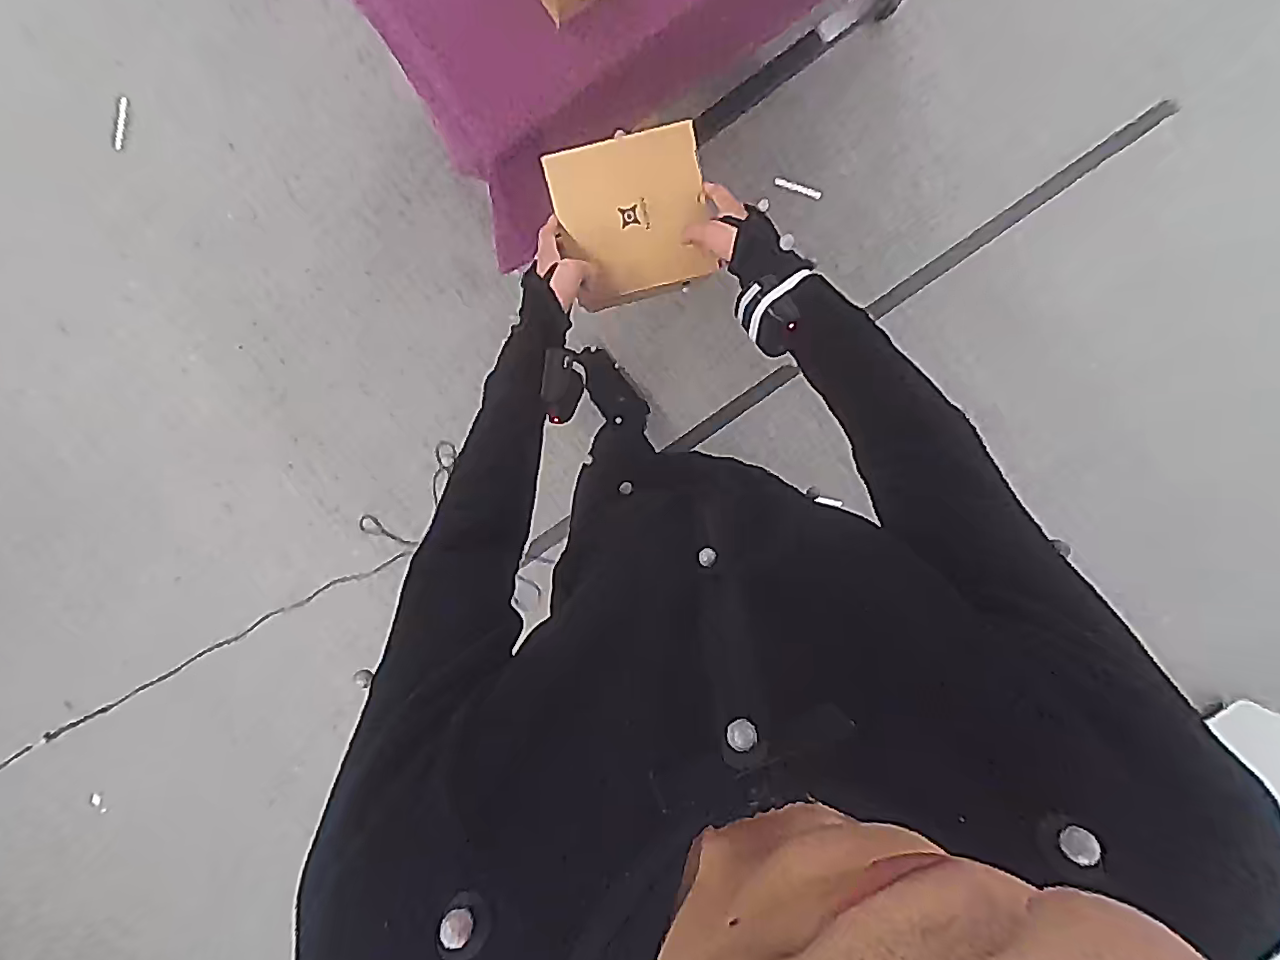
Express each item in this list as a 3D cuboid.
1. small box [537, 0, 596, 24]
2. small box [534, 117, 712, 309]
[{"bbox_3d":[-0.106,-0.768,0.703,0.168,0.176,0.179,-35,97,4],"label":"small box"},{"bbox_3d":[-0.019,-0.323,0.693,0.179,0.176,0.168,-14,105,0],"label":"small box"}]
